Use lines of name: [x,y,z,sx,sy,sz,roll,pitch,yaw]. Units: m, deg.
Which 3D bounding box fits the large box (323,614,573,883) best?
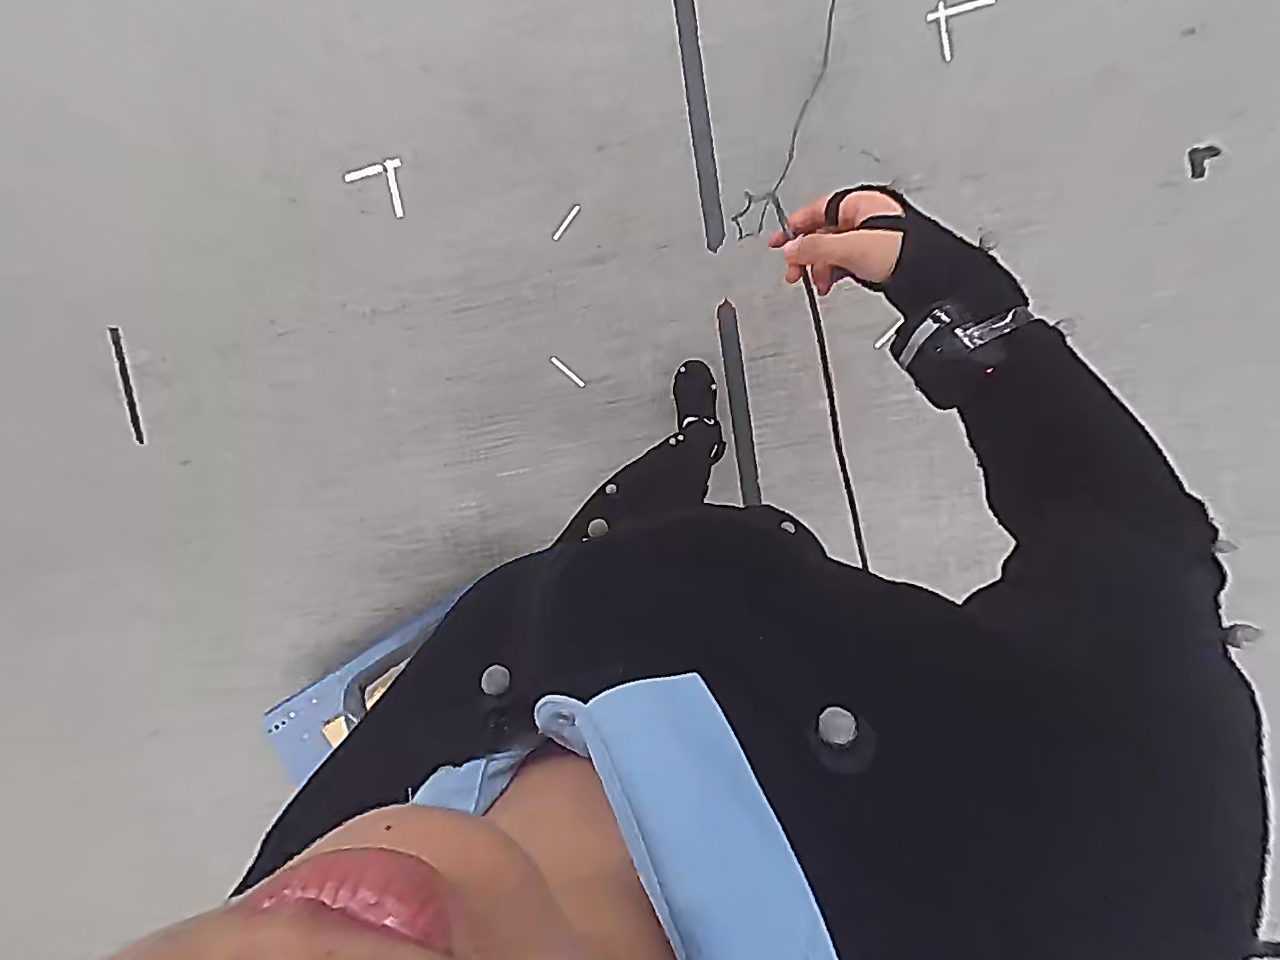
large box: [-0.416,0.593,1.258,0.320,0.320,0.408,-32,89,8]
